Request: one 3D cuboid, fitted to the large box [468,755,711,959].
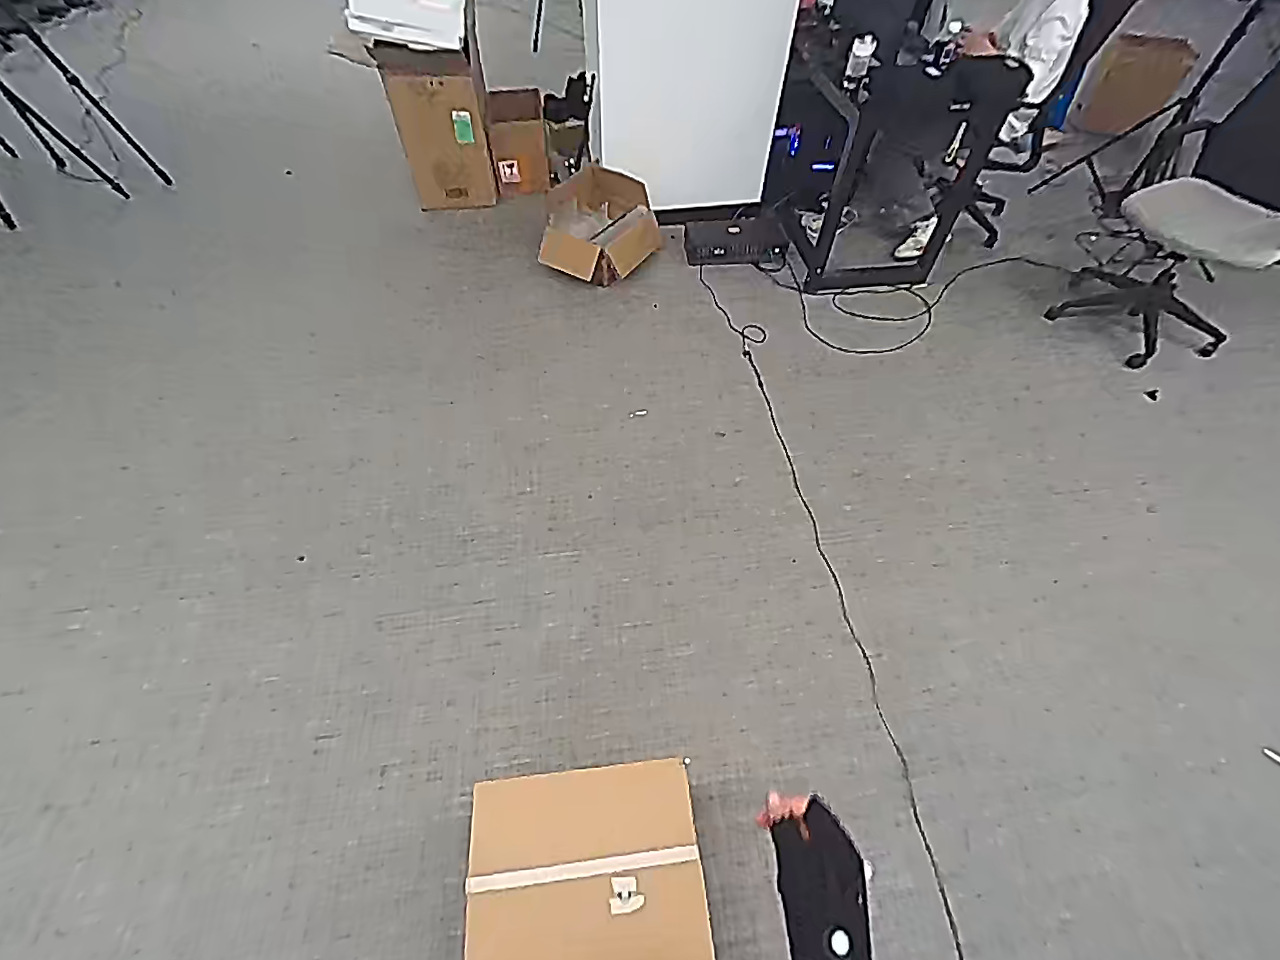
[{"bbox_3d":[-0.102,0.772,1.074,0.408,0.320,0.320,-4,53,-6],"label":"large box"}]
